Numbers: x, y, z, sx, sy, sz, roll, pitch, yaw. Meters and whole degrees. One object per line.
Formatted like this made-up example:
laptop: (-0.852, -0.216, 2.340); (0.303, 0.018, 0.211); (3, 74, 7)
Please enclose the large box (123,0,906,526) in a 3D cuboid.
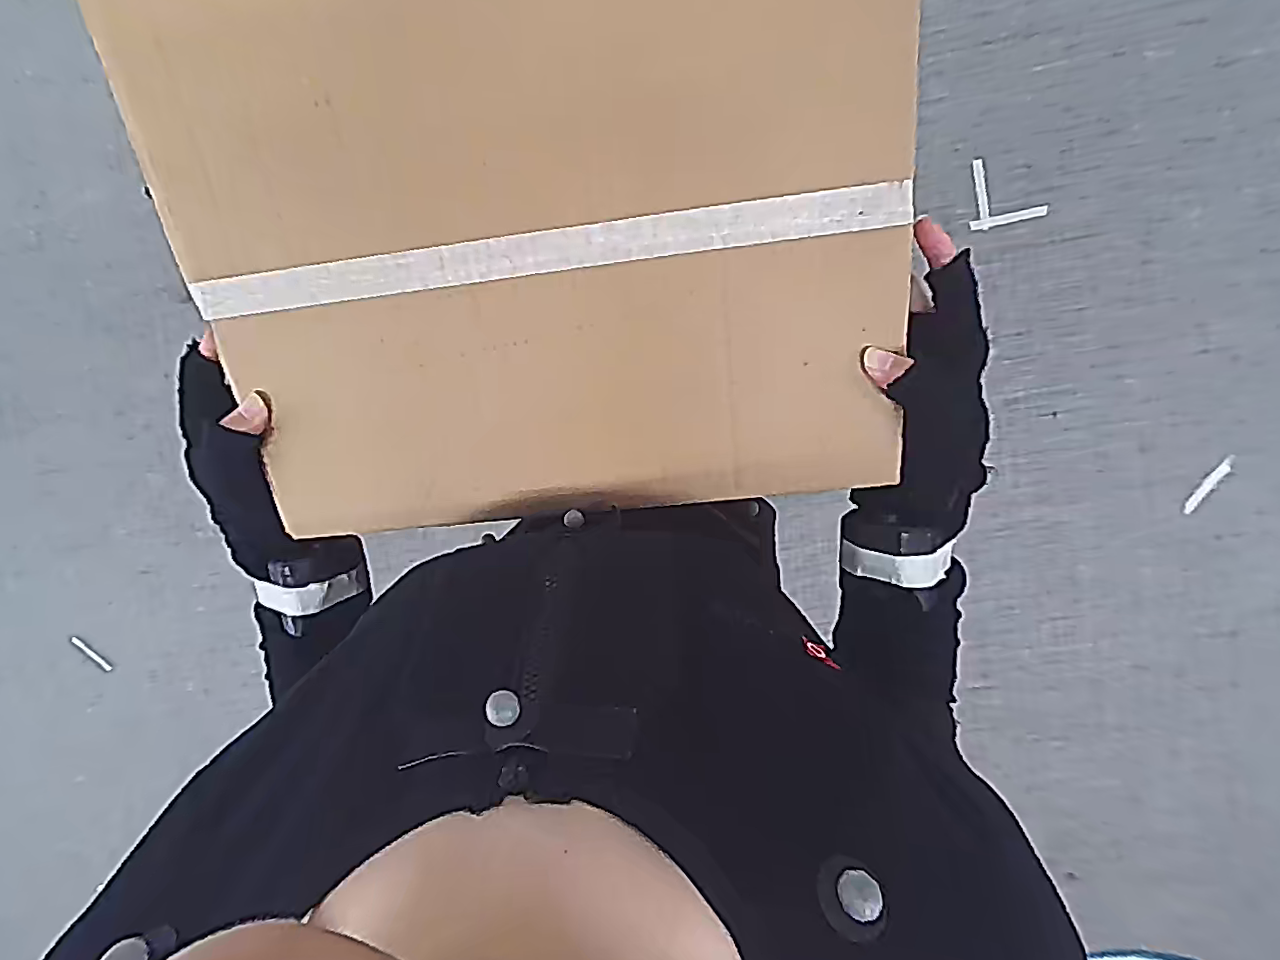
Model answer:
large box: (-0.050, -0.181, 0.450); (0.408, 0.320, 0.320); (-6, 111, 5)
